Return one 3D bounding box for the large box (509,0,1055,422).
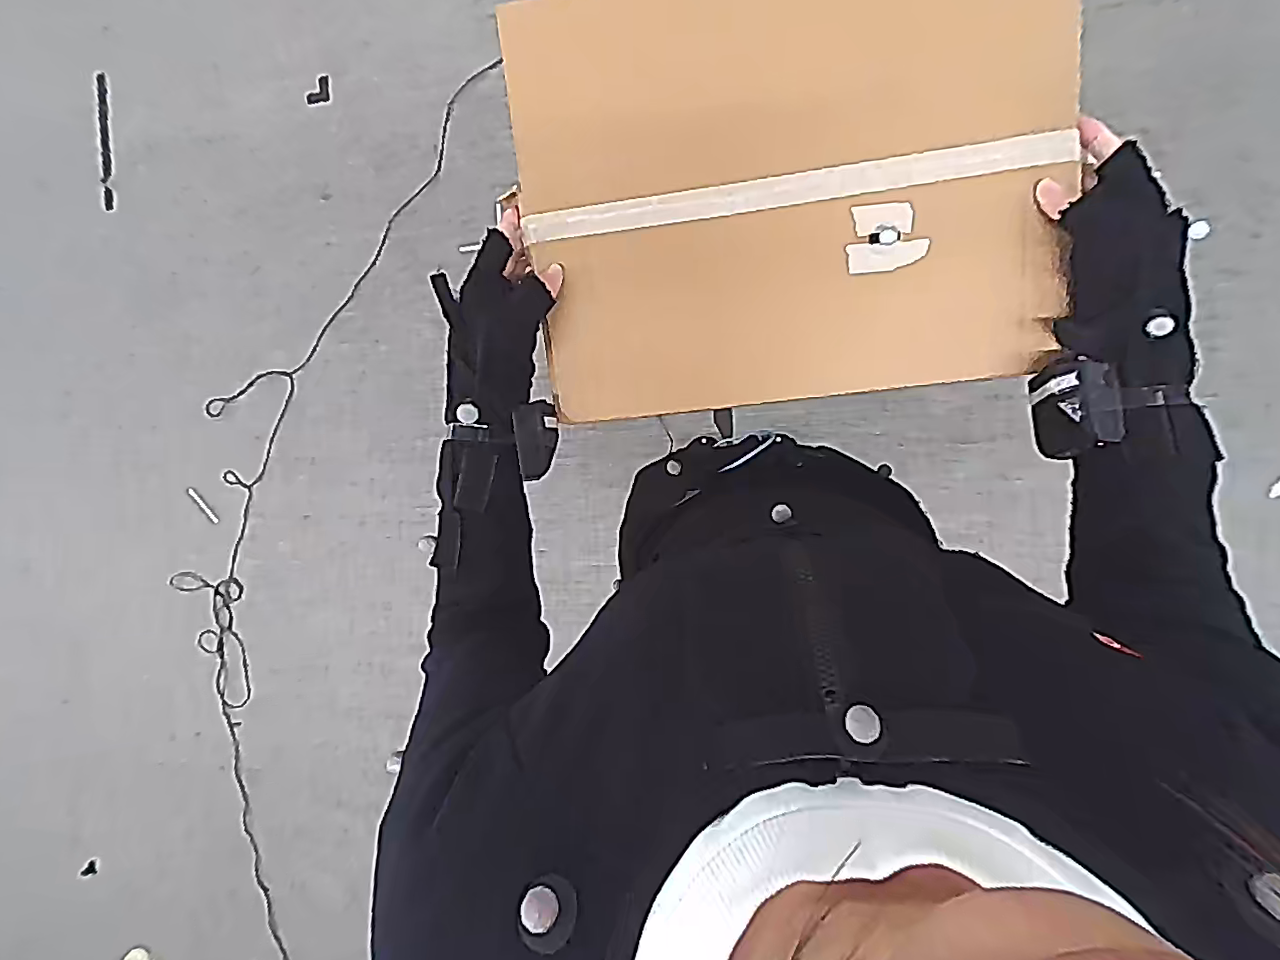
[{"bbox_3d":[0.122,-0.247,0.570,0.408,0.320,0.320,-6,101,6],"label":"large box"}]
